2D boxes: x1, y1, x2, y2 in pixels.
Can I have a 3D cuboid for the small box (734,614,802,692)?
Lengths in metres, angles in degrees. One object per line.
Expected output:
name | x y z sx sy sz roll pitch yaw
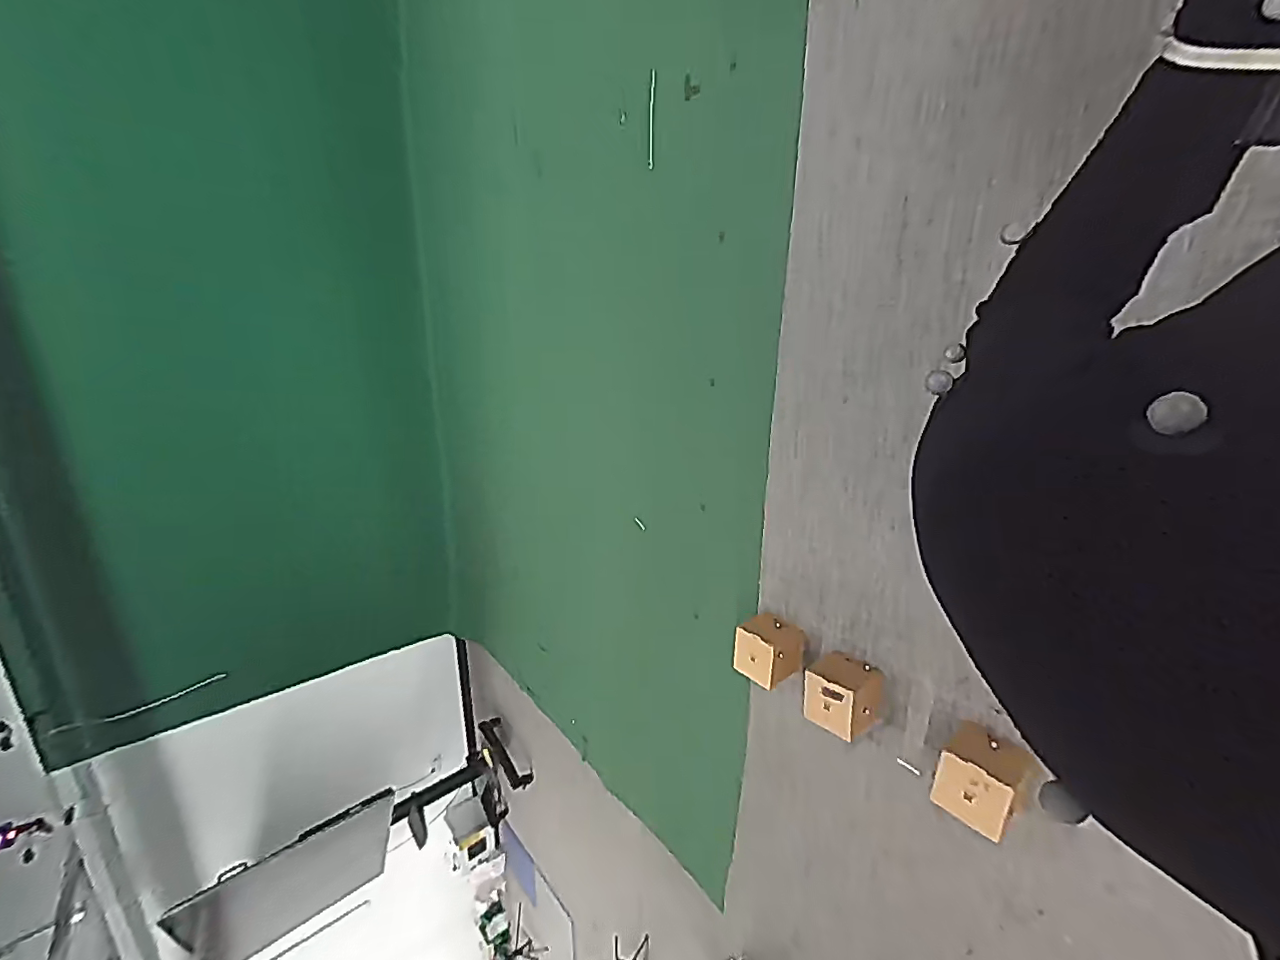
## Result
small box | 0.452 0.605 1.909 0.168 0.176 0.179 19 114 47

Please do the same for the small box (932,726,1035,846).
small box | 0.892 0.783 1.402 0.168 0.176 0.179 21 115 46

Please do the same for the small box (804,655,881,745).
small box | 0.637 0.679 1.695 0.168 0.176 0.179 15 111 49
